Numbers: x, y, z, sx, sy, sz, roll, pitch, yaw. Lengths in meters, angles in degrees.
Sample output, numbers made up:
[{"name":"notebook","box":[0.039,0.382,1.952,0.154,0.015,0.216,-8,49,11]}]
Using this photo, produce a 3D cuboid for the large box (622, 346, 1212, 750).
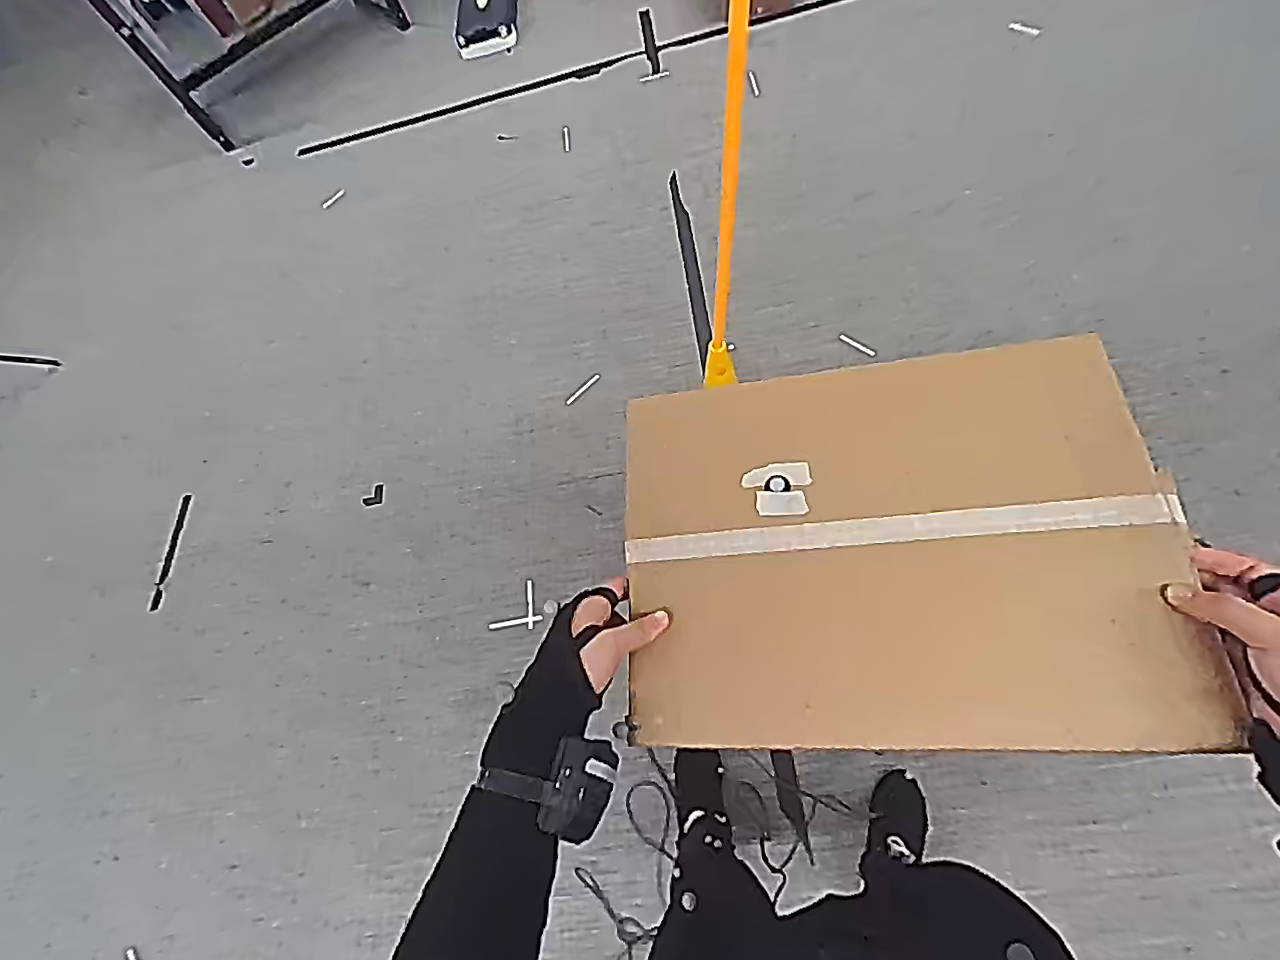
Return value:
[{"name":"large box","box":[0.220,0.104,0.584,0.408,0.320,0.320,-7,66,15]}]
